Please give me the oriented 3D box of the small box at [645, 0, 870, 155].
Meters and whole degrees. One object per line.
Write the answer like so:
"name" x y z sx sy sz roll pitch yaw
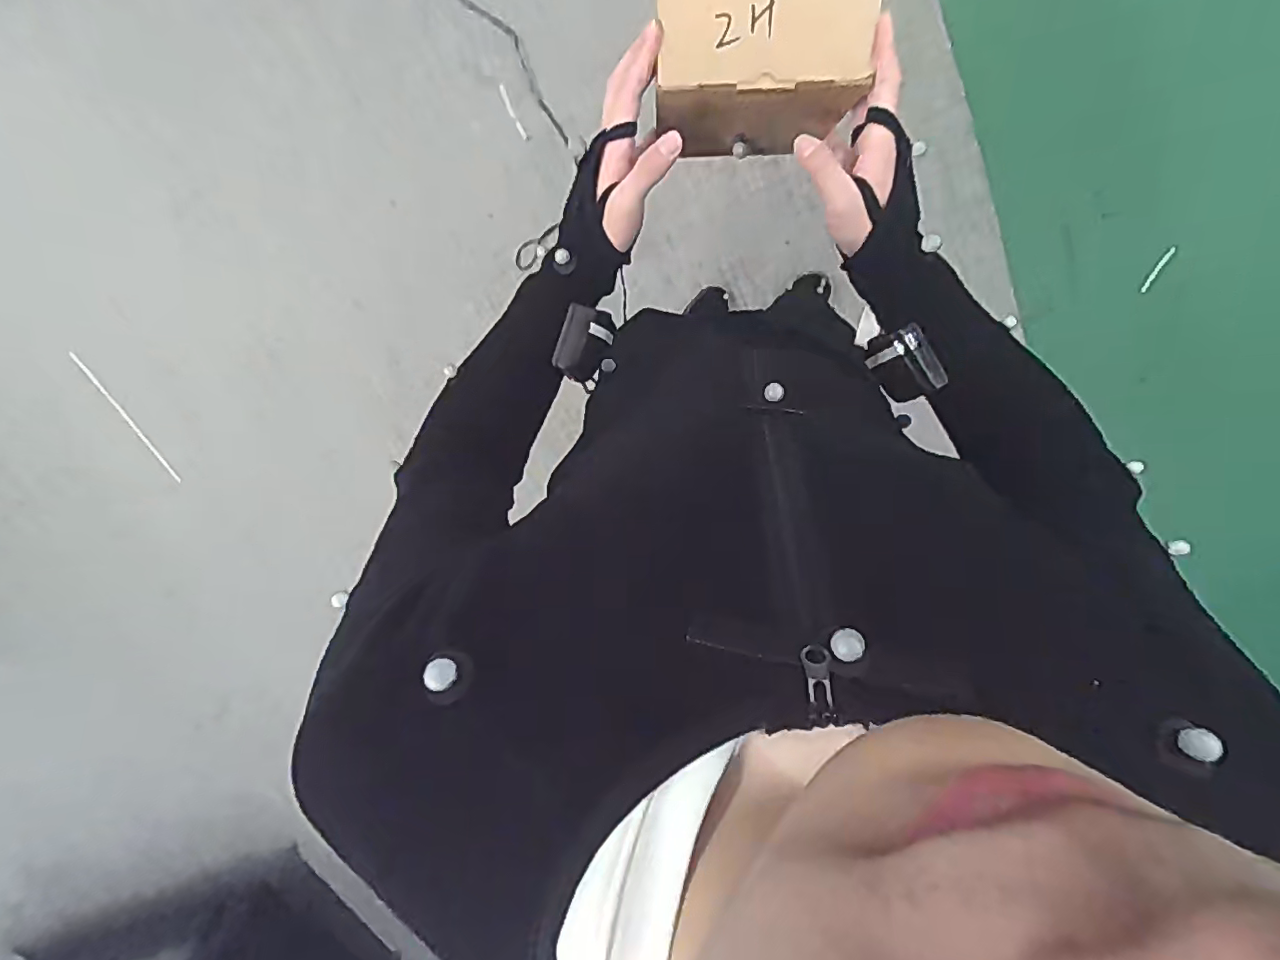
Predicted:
"small box" 0.087 -0.405 0.463 0.168 0.176 0.179 -1 104 2
